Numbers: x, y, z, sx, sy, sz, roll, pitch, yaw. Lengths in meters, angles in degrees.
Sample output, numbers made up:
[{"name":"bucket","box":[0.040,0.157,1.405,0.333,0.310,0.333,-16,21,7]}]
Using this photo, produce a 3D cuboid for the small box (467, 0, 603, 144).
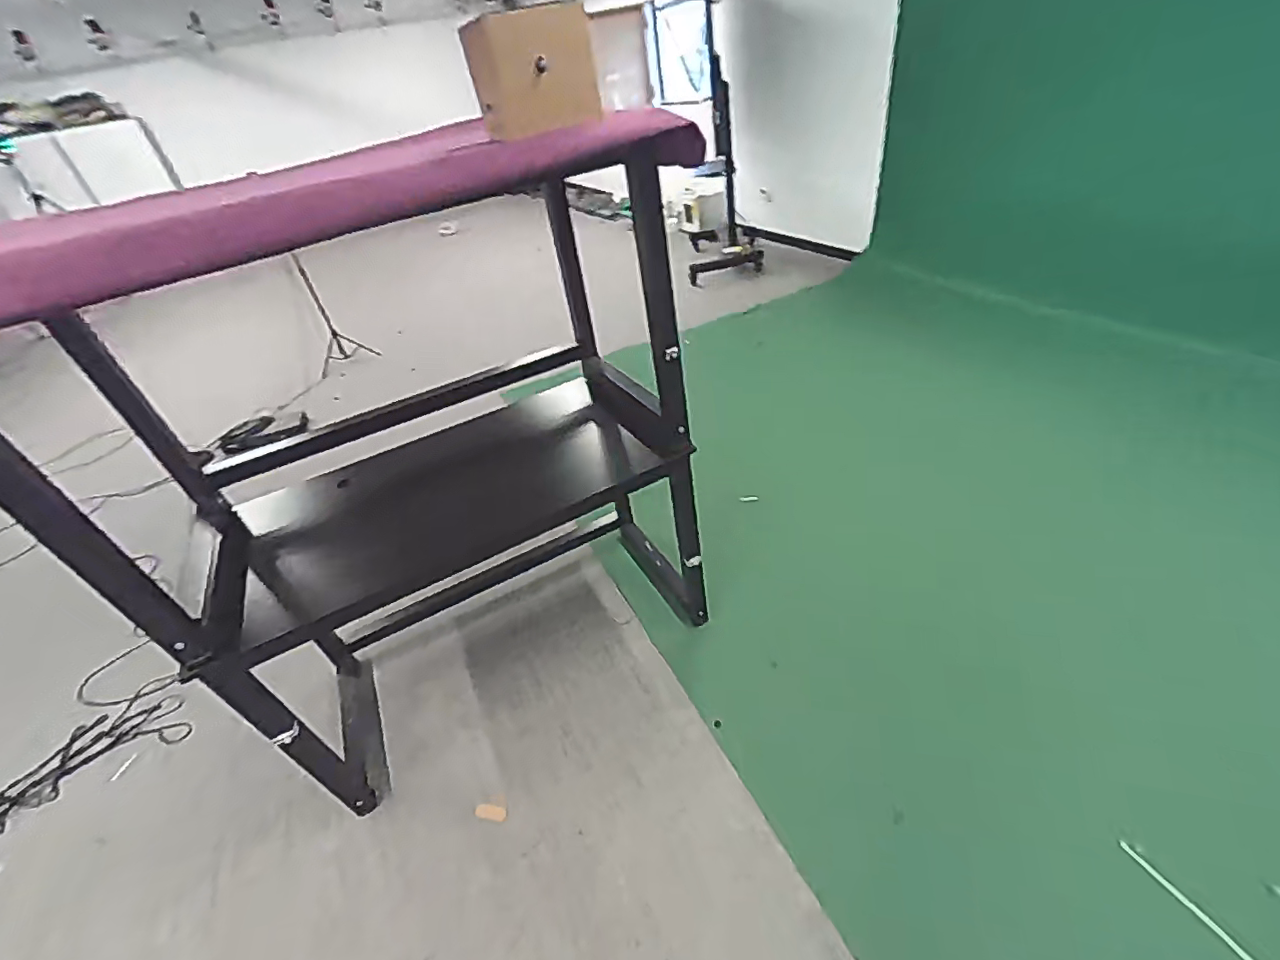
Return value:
[{"name":"small box","box":[-0.176,-0.706,0.943,0.179,0.176,0.168,-24,39,-15]}]
